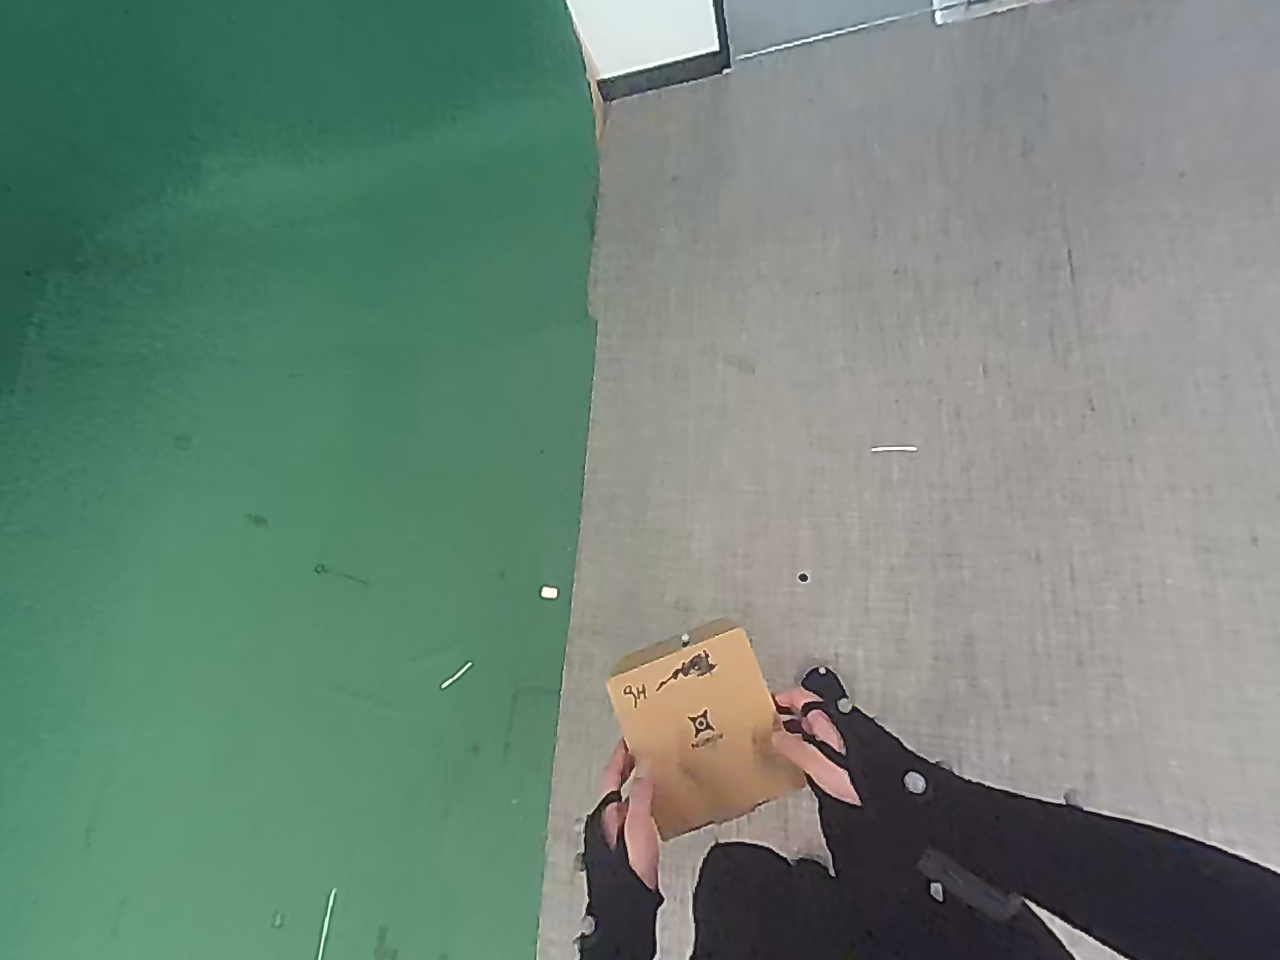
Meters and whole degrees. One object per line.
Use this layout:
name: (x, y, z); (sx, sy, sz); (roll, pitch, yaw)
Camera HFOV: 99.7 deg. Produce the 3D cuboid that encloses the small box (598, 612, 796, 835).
small box: (0.065, 0.273, 0.651); (0.168, 0.176, 0.179); (-22, 80, 1)
